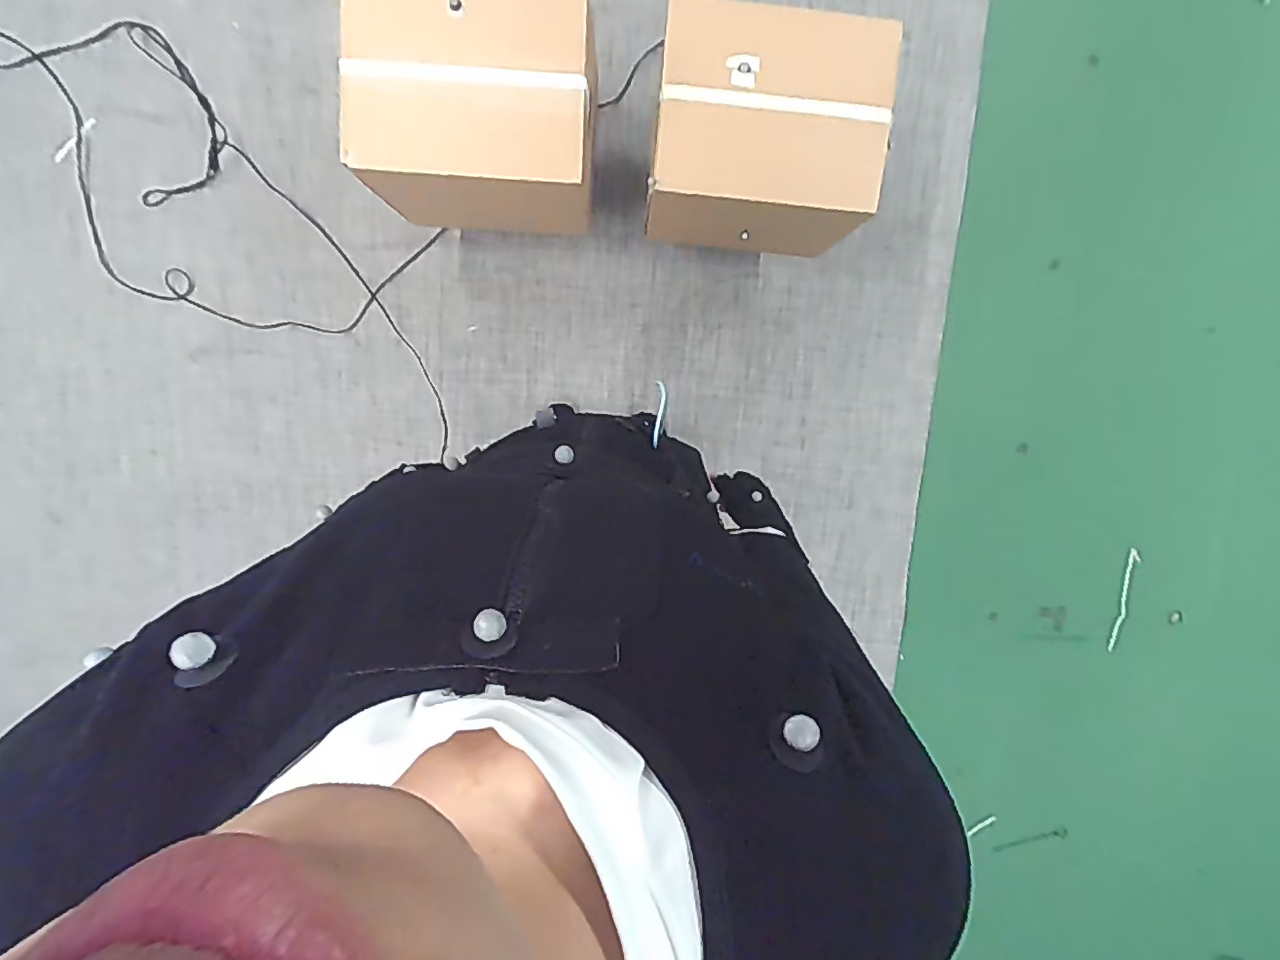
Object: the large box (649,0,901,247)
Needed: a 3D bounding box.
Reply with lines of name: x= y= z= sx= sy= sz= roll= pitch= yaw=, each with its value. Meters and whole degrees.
large box: x=0.236 y=-0.680 z=1.086 sx=0.408 sy=0.320 sz=0.320 roll=5 pitch=99 yaw=-3
